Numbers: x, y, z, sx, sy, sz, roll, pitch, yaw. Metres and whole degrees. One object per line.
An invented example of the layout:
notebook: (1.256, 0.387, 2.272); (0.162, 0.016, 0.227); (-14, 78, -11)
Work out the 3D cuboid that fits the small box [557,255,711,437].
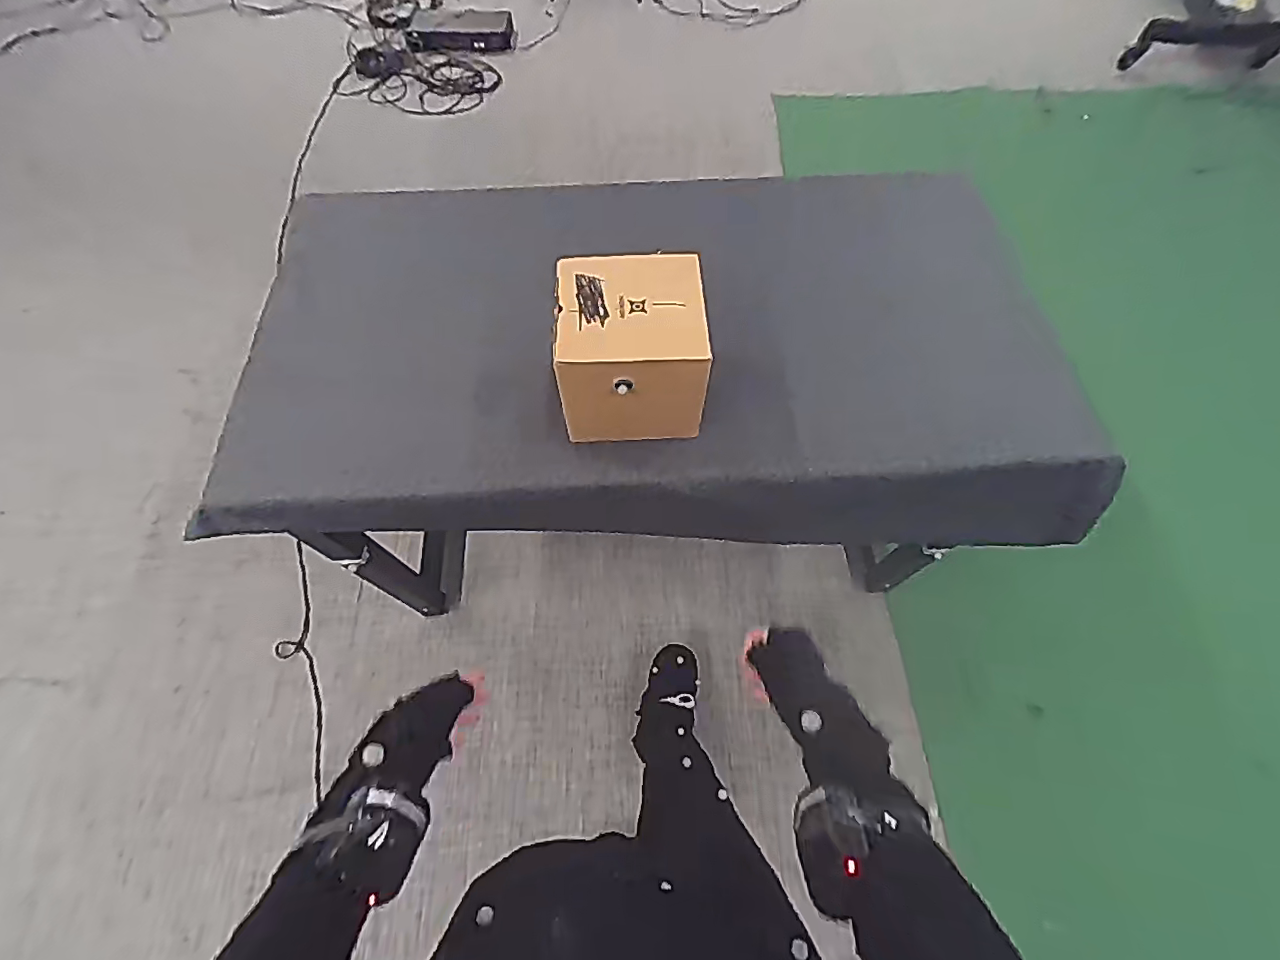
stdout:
small box: (-0.008, -0.167, 0.708); (0.179, 0.176, 0.168); (-2, 63, -1)
